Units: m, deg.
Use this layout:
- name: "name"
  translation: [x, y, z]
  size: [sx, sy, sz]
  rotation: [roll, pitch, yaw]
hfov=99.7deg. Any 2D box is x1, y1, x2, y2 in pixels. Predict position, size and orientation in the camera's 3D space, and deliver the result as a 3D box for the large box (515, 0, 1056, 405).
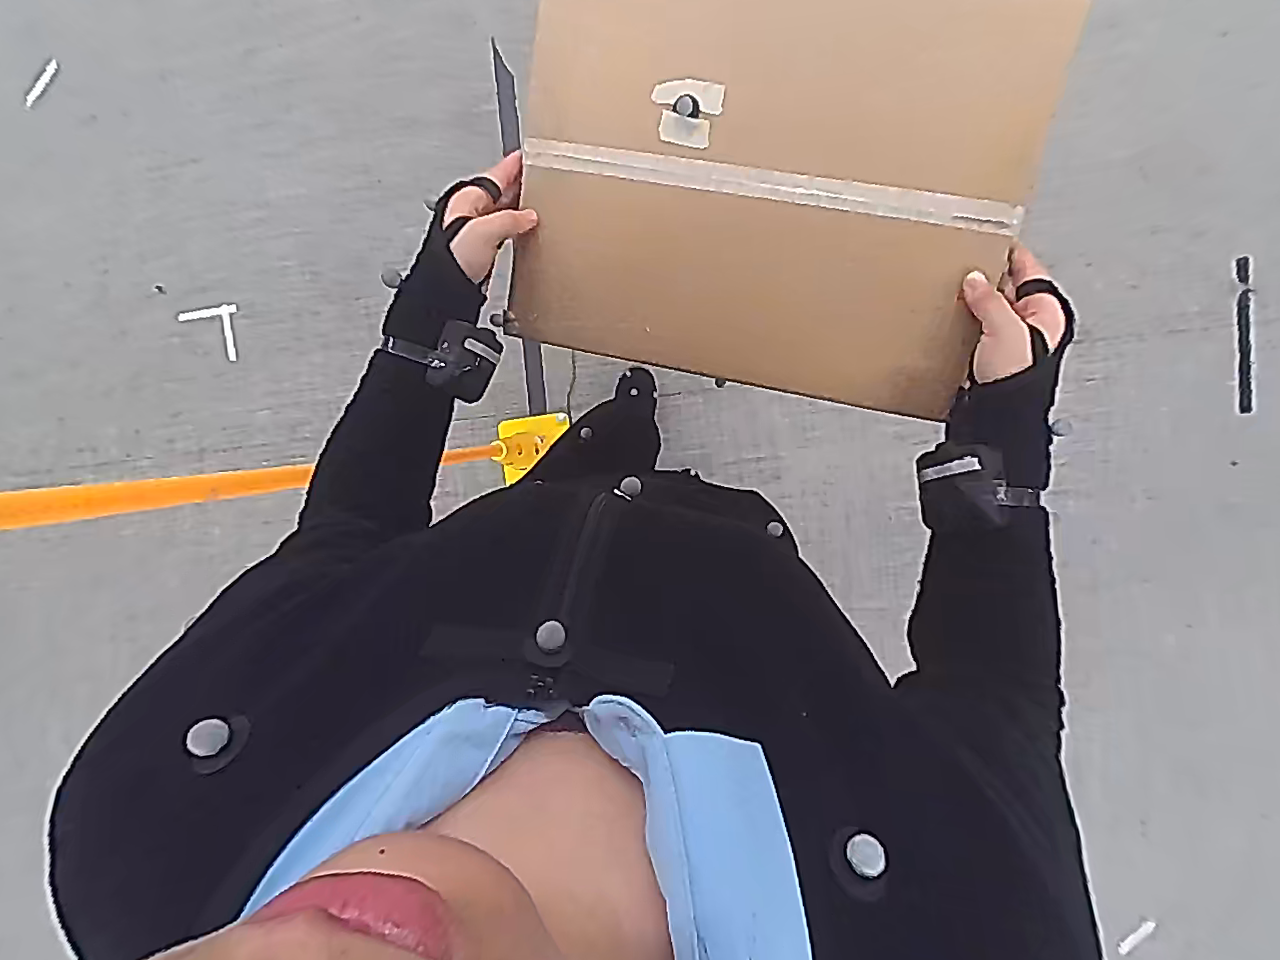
- name: "large box"
  translation: [0.123, -0.279, 0.604]
  size: [0.408, 0.320, 0.320]
  rotation: [12, 103, 8]
